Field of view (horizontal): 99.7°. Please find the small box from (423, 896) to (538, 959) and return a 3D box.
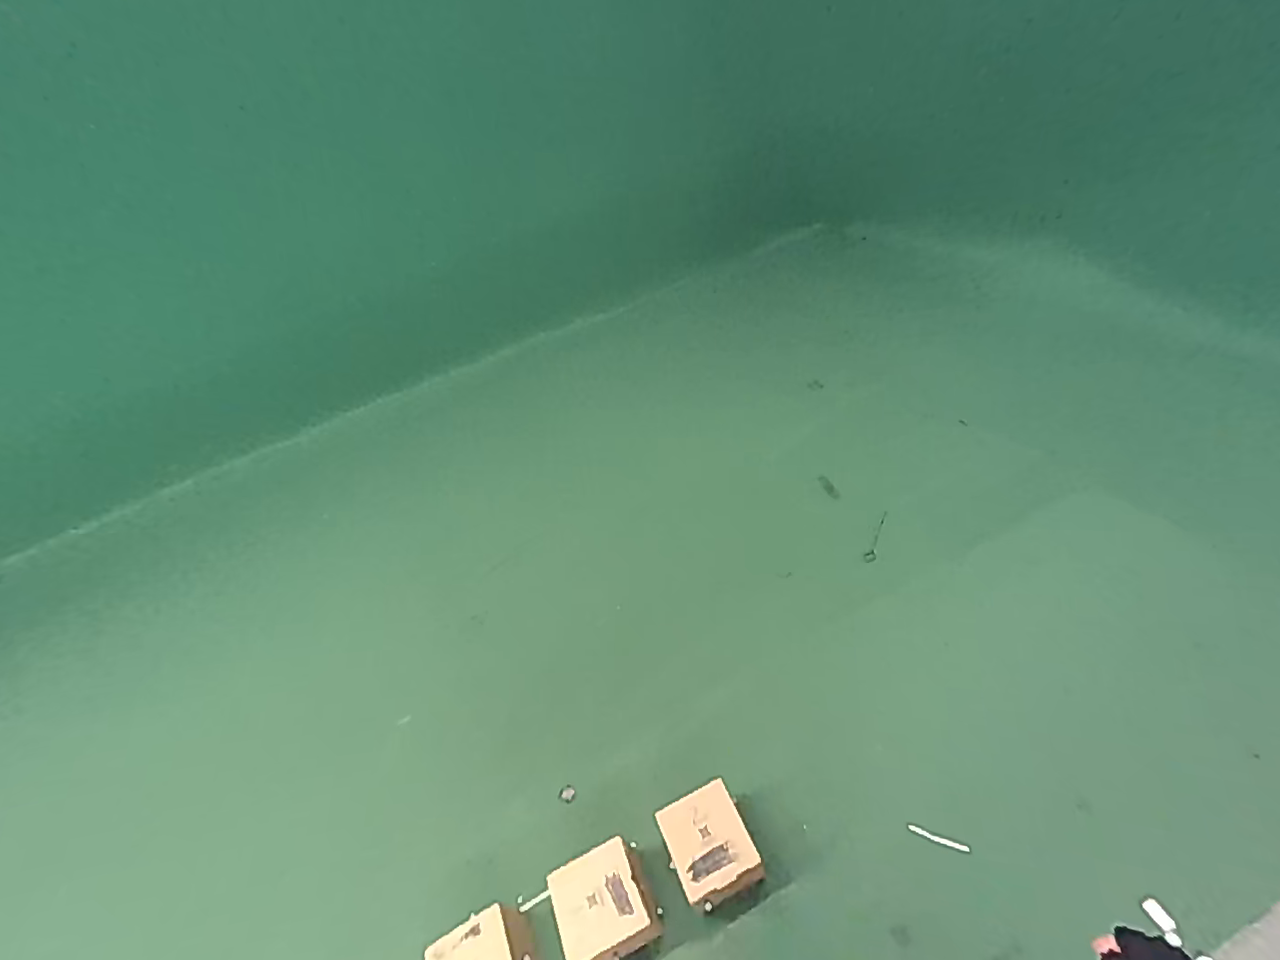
[{"bbox_3d":[-0.317,1.001,1.112,0.168,0.176,0.179,-26,47,-10],"label":"small box"}]
